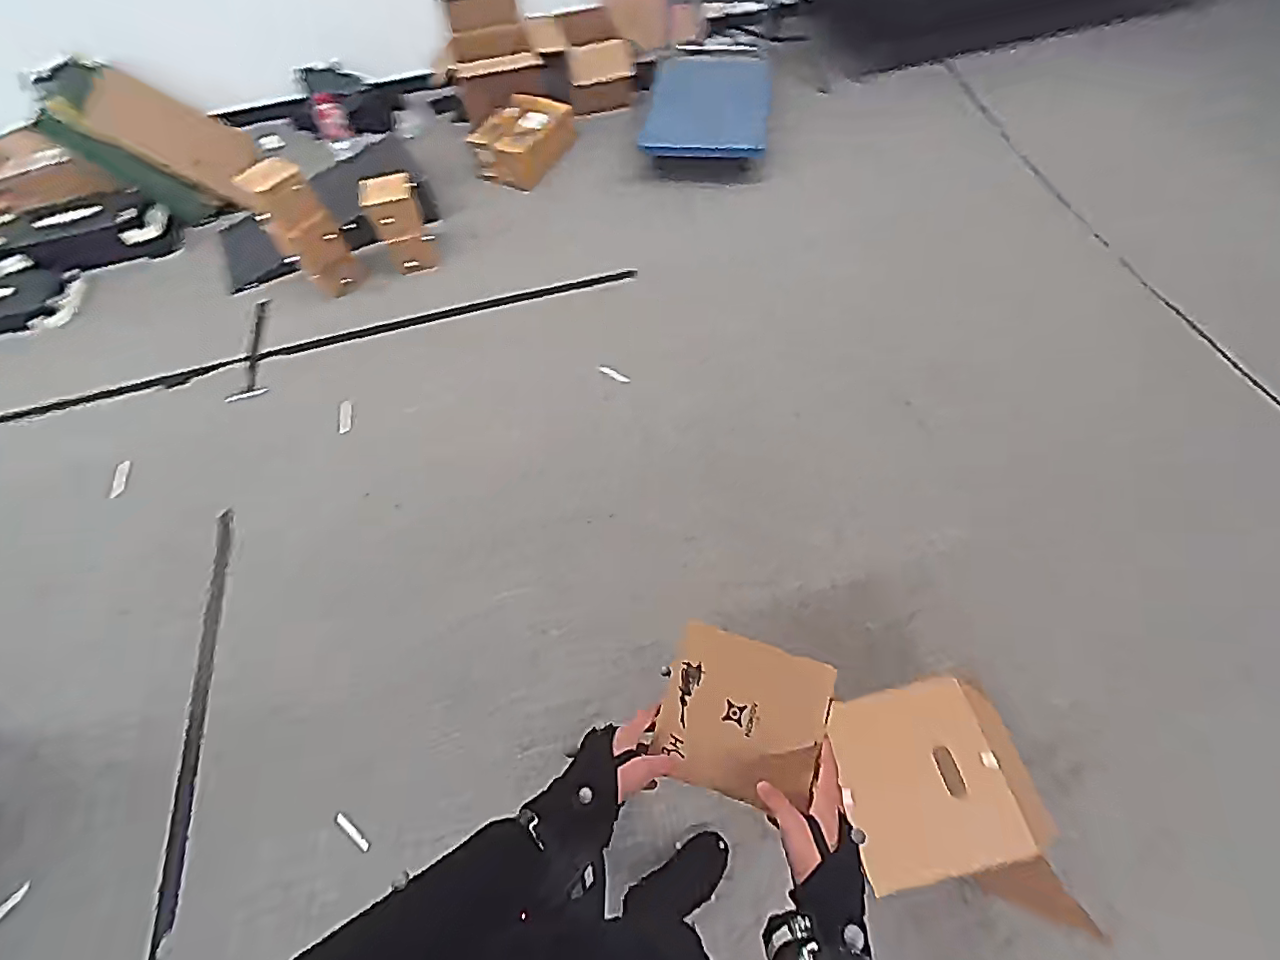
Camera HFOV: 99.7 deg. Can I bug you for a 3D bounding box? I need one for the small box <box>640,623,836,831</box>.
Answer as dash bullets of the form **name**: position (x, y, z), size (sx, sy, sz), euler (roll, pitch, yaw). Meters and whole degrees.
- **small box**: position (0.114, 0.284, 0.659), size (0.179, 0.176, 0.168), euler (16, 74, 11)
